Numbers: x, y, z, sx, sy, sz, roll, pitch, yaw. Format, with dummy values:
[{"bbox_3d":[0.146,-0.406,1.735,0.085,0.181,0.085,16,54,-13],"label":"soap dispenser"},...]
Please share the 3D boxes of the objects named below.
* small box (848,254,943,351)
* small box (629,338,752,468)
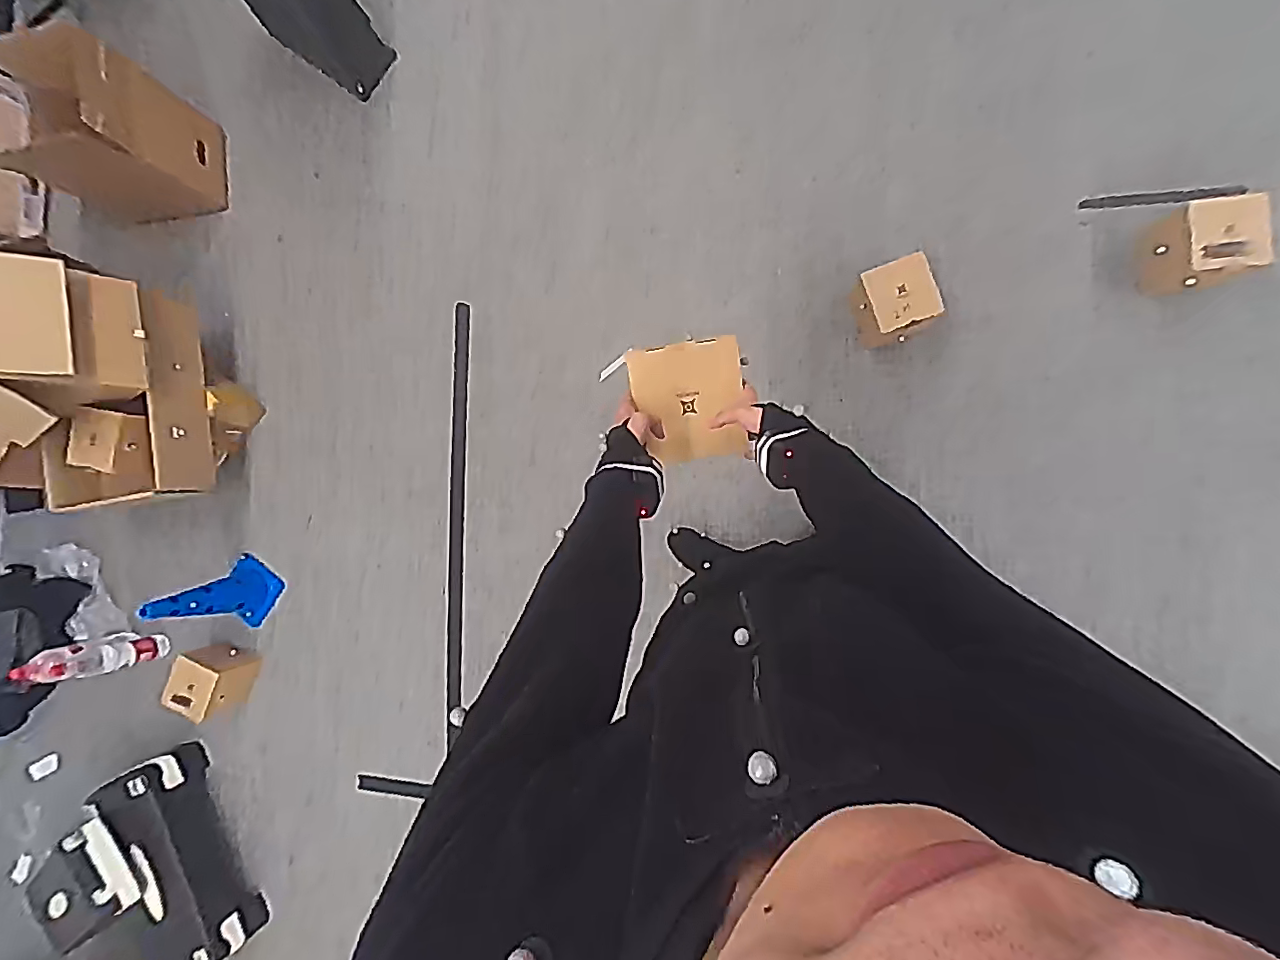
[{"bbox_3d":[0.690,-0.480,1.485,0.168,0.176,0.179,-19,85,9],"label":"small box"},{"bbox_3d":[0.084,-0.130,0.872,0.168,0.176,0.179,-7,103,7],"label":"small box"}]
